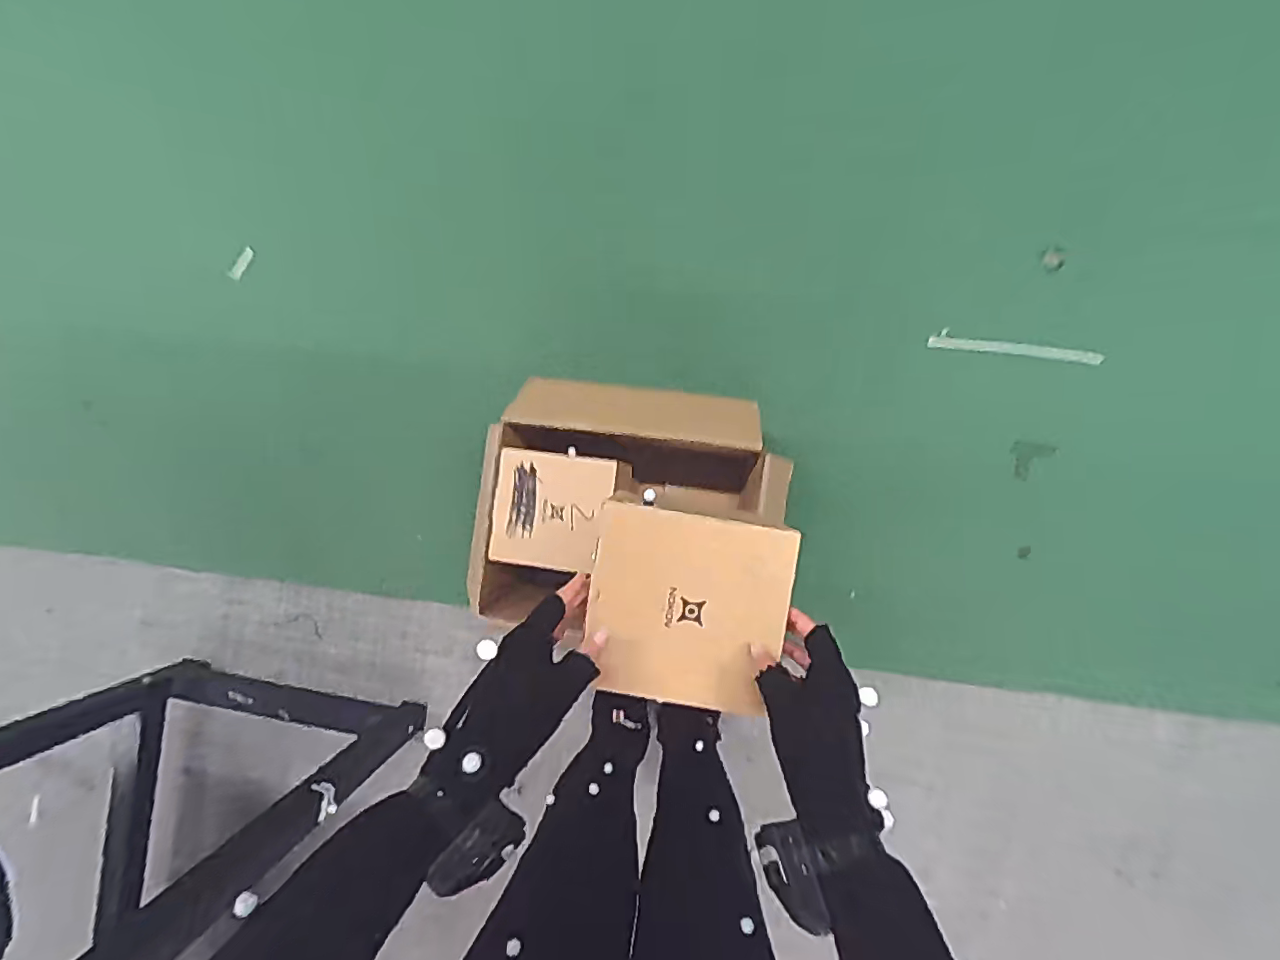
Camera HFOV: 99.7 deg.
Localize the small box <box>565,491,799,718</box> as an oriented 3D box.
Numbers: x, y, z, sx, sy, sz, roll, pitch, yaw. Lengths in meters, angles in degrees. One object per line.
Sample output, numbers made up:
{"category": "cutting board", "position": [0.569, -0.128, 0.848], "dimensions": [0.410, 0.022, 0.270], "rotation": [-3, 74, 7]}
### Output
{"category": "small box", "position": [0.038, 0.104, 0.531], "dimensions": [0.179, 0.176, 0.168], "rotation": [9, 92, 3]}
